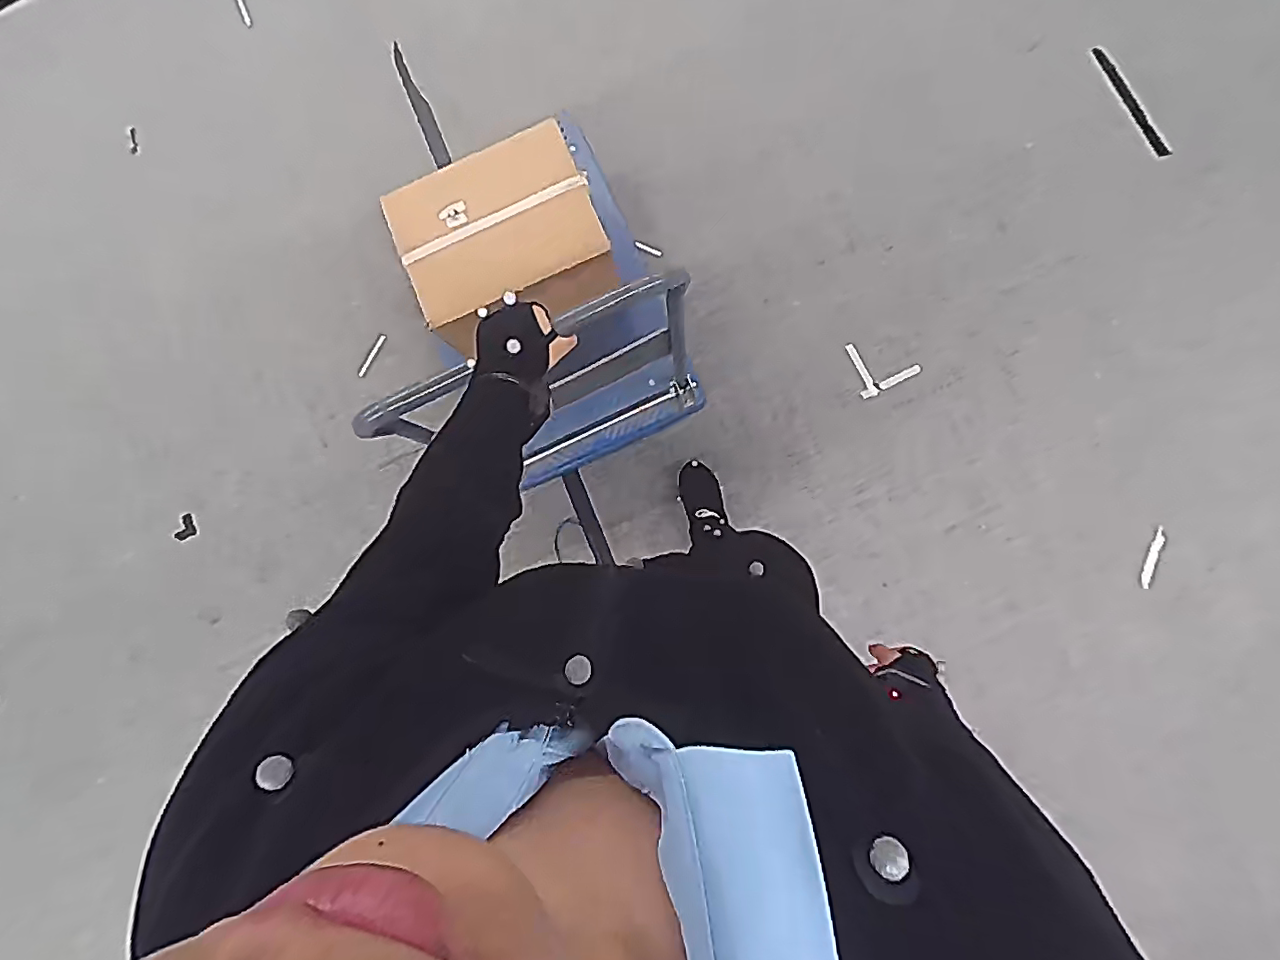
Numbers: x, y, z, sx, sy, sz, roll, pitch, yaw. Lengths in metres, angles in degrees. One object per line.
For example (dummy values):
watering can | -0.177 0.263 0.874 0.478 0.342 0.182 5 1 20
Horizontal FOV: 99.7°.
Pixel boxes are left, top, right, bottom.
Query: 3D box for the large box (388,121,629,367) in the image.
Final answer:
large box | -0.279 -0.516 1.259 0.408 0.320 0.320 -23 83 4
